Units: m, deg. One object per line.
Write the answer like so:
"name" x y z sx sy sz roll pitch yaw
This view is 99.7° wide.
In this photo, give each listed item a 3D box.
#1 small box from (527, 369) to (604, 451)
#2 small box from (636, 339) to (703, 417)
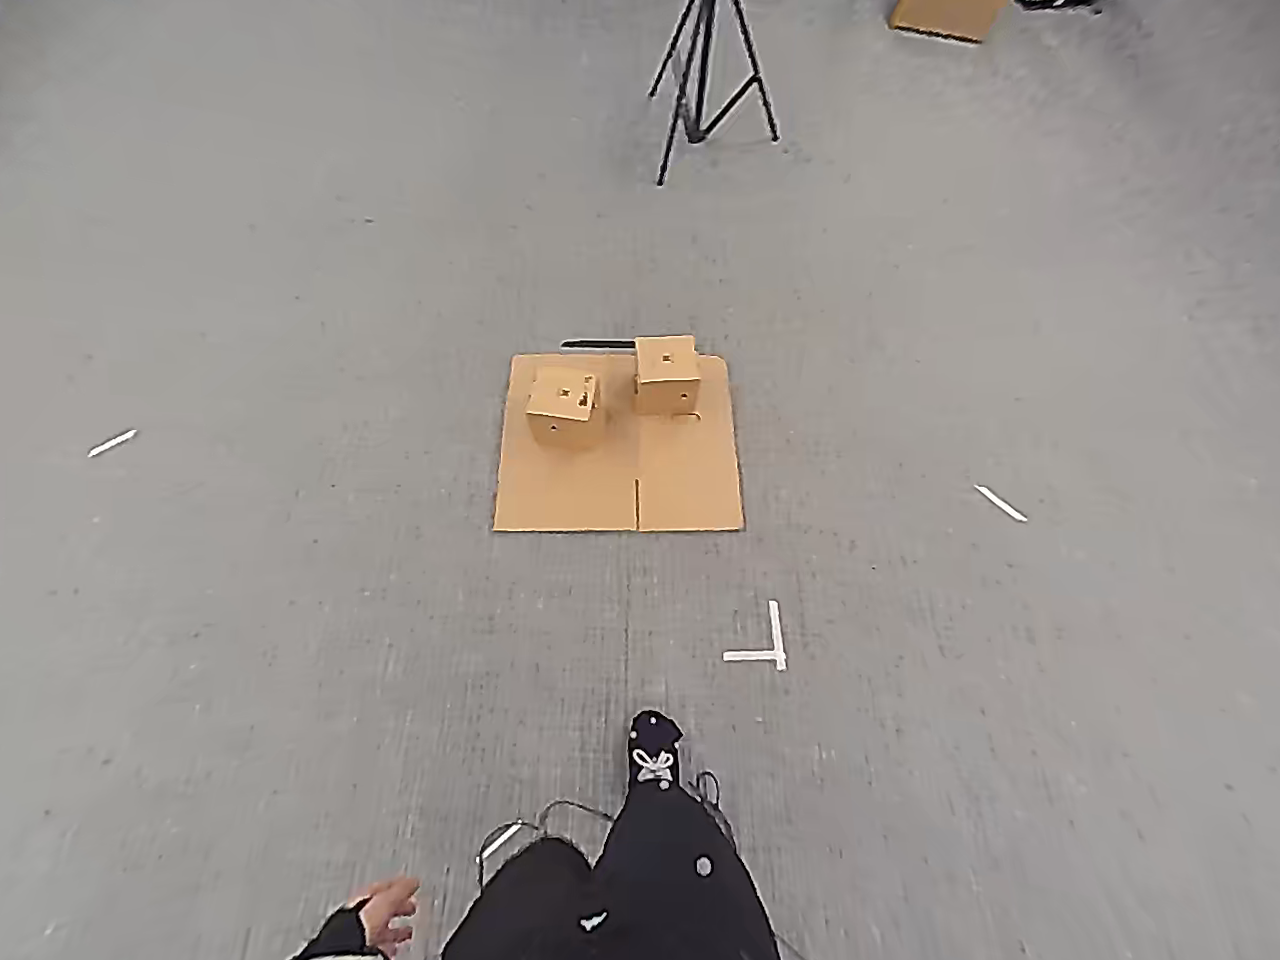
"small box" -0.209 -0.198 1.565 0.179 0.176 0.168 8 65 4
"small box" 0.082 -0.304 1.626 0.179 0.176 0.168 -4 63 -3
